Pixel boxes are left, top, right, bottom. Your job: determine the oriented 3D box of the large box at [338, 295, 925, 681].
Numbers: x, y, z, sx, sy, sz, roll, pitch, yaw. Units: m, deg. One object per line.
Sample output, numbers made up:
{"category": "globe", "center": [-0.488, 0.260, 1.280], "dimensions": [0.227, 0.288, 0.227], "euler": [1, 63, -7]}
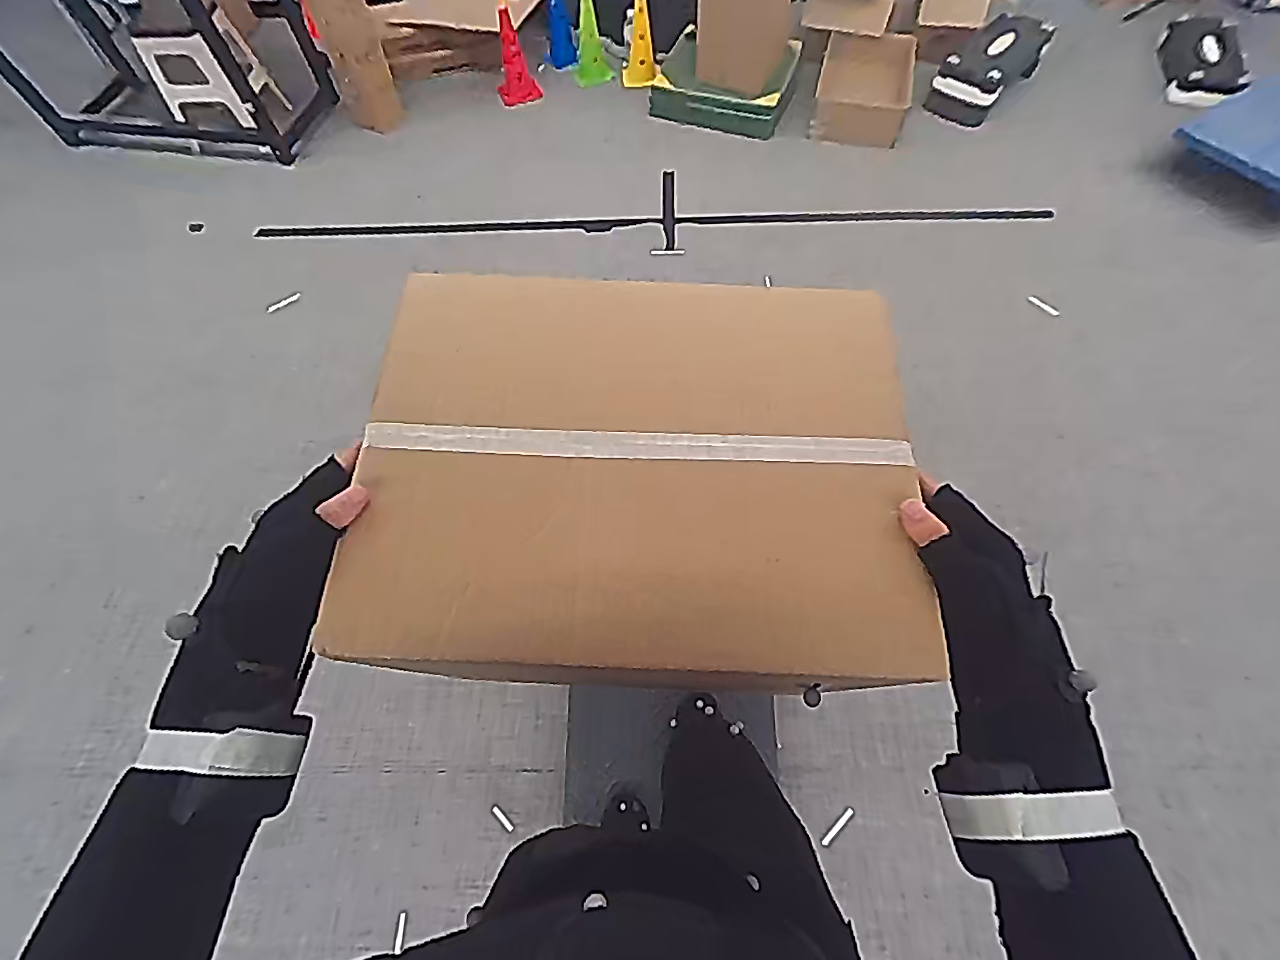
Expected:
{"category": "large box", "center": [-0.002, 0.038, 0.554], "dimensions": [0.408, 0.320, 0.320], "euler": [2, 67, 0]}
